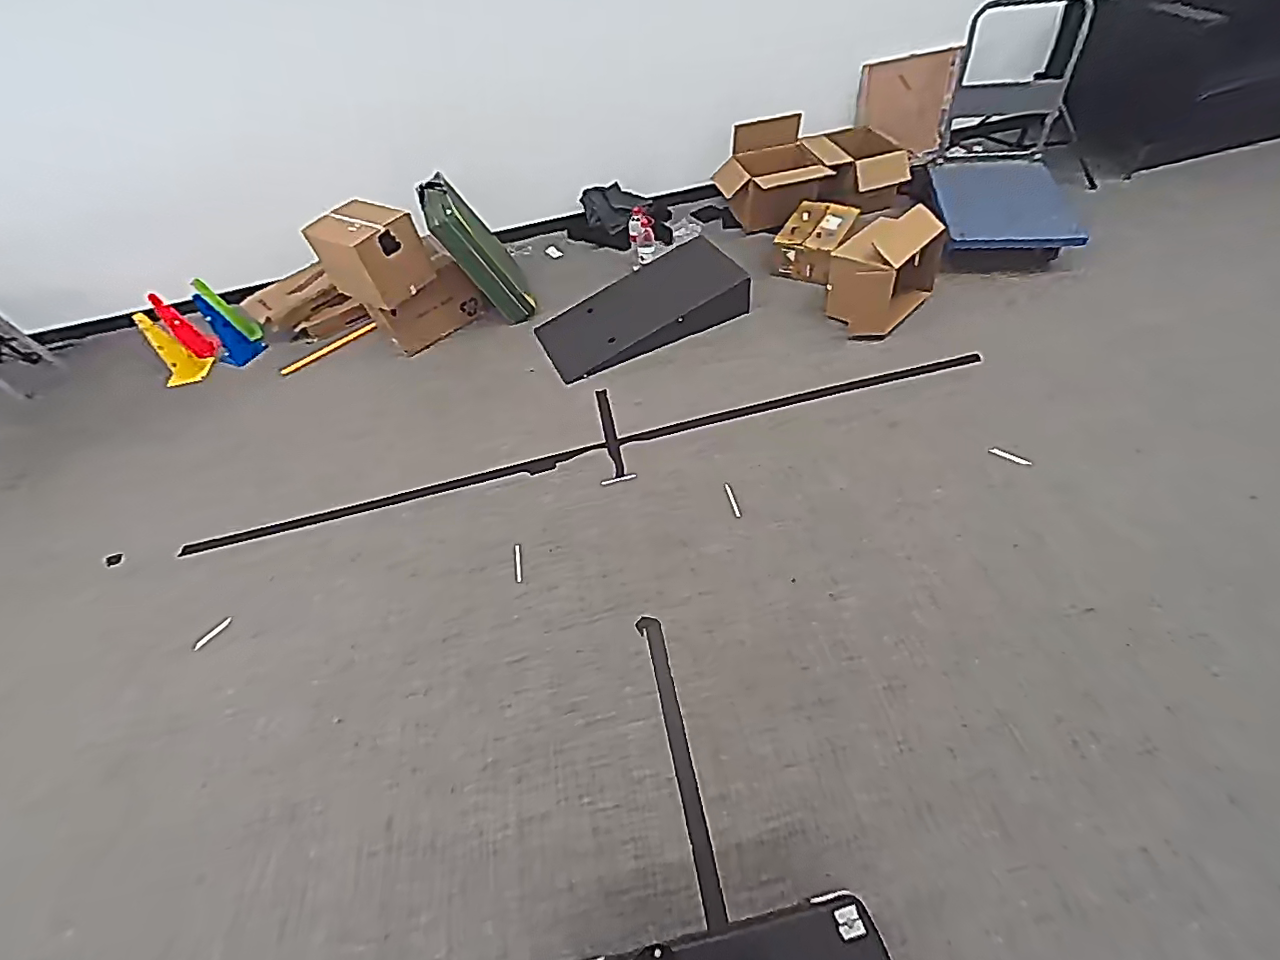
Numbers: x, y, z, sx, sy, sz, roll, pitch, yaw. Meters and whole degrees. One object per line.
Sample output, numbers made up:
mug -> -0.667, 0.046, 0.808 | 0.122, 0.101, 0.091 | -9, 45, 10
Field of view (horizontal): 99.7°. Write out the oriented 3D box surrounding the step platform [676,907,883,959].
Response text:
step platform -> 0.175, 1.099, 1.061 | 0.684, 0.204, 0.286 | -14, 51, -3
